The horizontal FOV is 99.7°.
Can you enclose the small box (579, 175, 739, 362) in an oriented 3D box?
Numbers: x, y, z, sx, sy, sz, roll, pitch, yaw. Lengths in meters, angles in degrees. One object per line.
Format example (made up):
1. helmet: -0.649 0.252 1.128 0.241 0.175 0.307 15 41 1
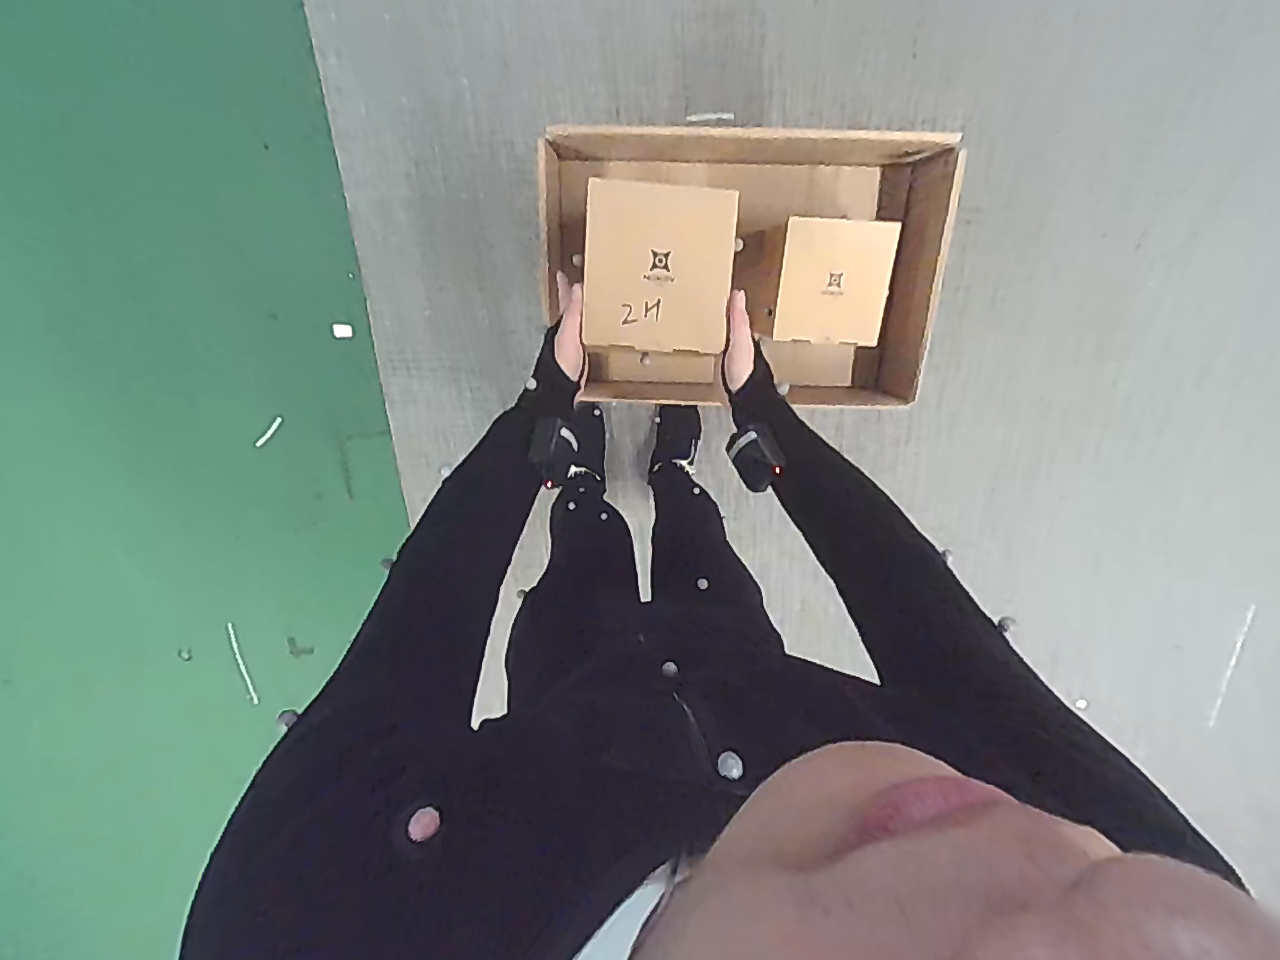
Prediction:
1. small box: 0.015 -0.242 0.660 0.168 0.176 0.179 3 100 -3
